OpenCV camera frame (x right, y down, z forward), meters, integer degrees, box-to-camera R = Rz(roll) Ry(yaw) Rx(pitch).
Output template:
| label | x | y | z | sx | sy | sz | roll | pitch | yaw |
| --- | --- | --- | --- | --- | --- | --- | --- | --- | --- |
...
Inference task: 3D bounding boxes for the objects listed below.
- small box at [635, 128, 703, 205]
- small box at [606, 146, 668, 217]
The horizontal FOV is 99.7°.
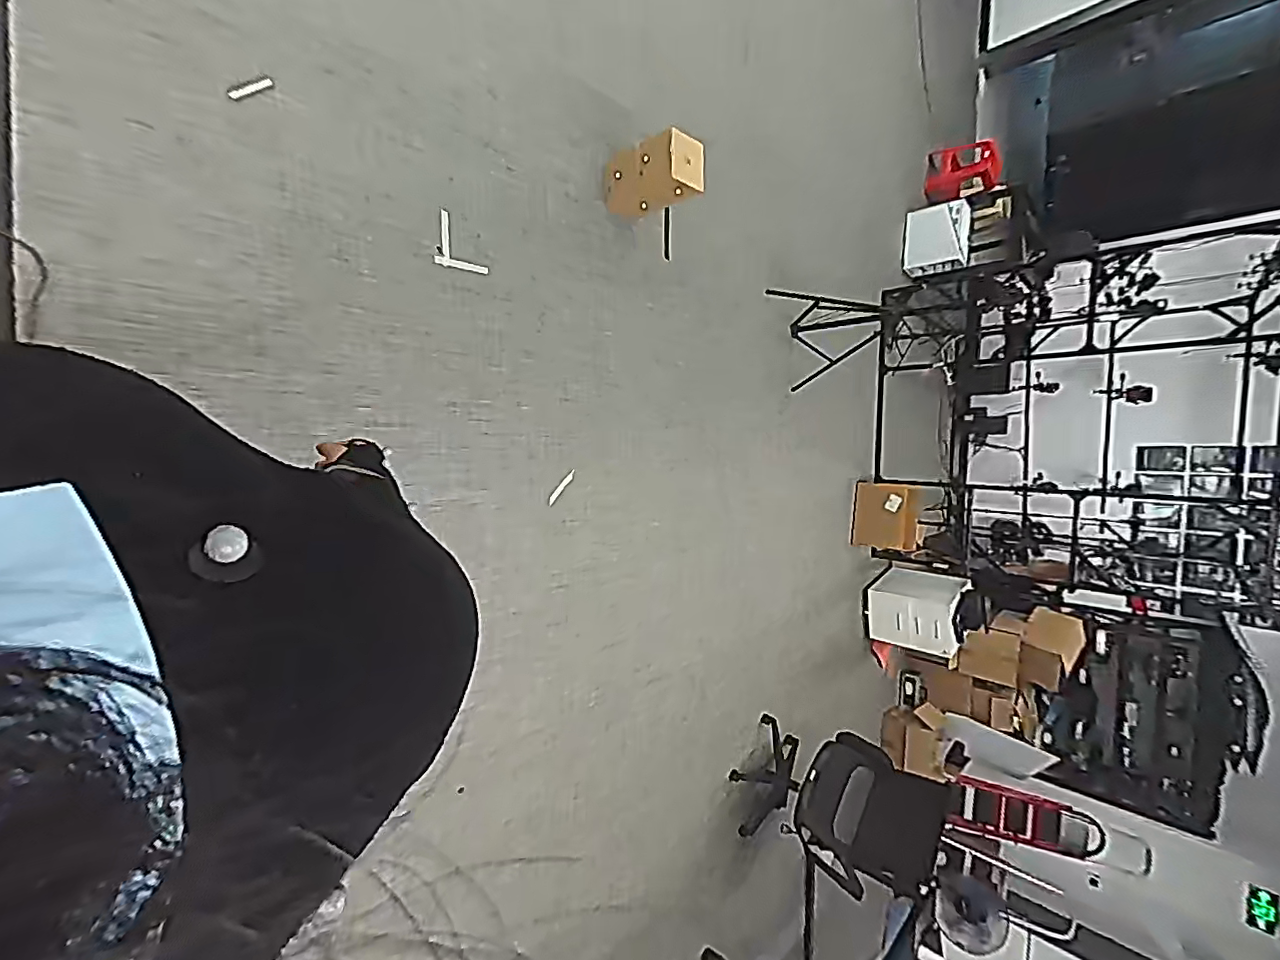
| label | x | y | z | sx | sy | sz | roll | pitch | yaw |
| --- | --- | --- | --- | --- | --- | --- | --- | --- | --- |
| small box | 0.103 | -1.097 | 1.910 | 0.179 | 0.176 | 0.168 | -6 | 97 | -45 |
| small box | -0.016 | -1.105 | 2.021 | 0.179 | 0.176 | 0.168 | -8 | 99 | -47 |
